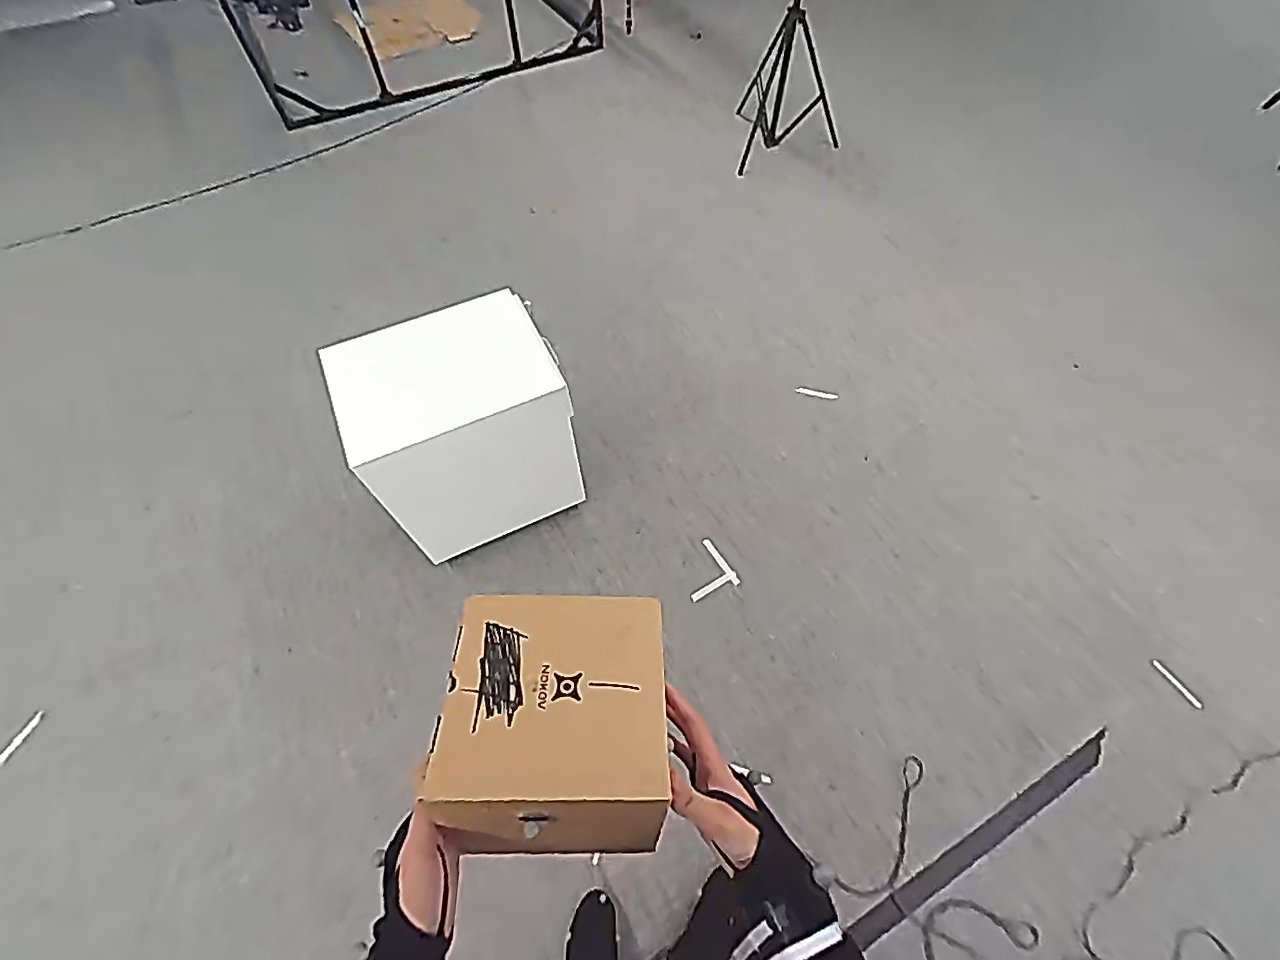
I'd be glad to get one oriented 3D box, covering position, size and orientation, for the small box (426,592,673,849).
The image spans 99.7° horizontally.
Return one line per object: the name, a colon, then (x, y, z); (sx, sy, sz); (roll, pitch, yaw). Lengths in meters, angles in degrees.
small box: (-0.067, 0.219, 0.488); (0.179, 0.176, 0.168); (2, 45, -3)
